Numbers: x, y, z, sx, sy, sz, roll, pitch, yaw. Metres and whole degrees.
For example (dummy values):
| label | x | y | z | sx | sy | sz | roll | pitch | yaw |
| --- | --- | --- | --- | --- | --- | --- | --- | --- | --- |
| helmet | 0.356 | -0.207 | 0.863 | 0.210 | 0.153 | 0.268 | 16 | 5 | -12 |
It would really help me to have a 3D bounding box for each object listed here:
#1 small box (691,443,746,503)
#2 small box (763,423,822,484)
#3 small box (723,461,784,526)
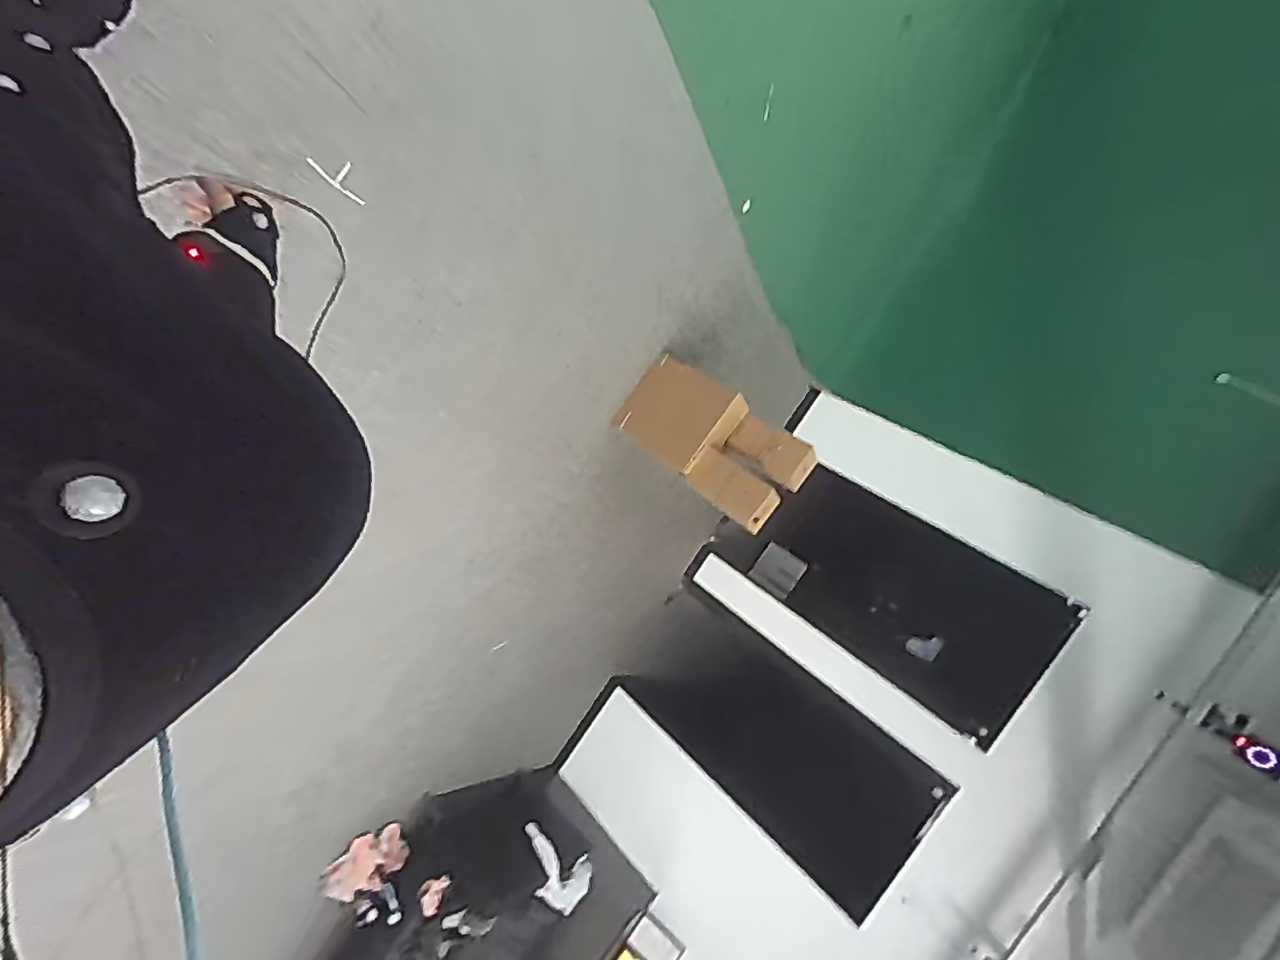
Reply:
| label | x | y | z | sx | sy | sz | roll | pitch | yaw |
| --- | --- | --- | --- | --- | --- | --- | --- | --- | --- |
| small box | 0.346 | -0.031 | 2.285 | 0.179 | 0.176 | 0.168 | -54 | 146 | -2 |
| small box | 0.648 | -0.115 | 2.297 | 0.168 | 0.176 | 0.179 | -53 | 148 | -4 |
| small box | 0.456 | 0.055 | 2.200 | 0.179 | 0.176 | 0.168 | -53 | 148 | -2 |
